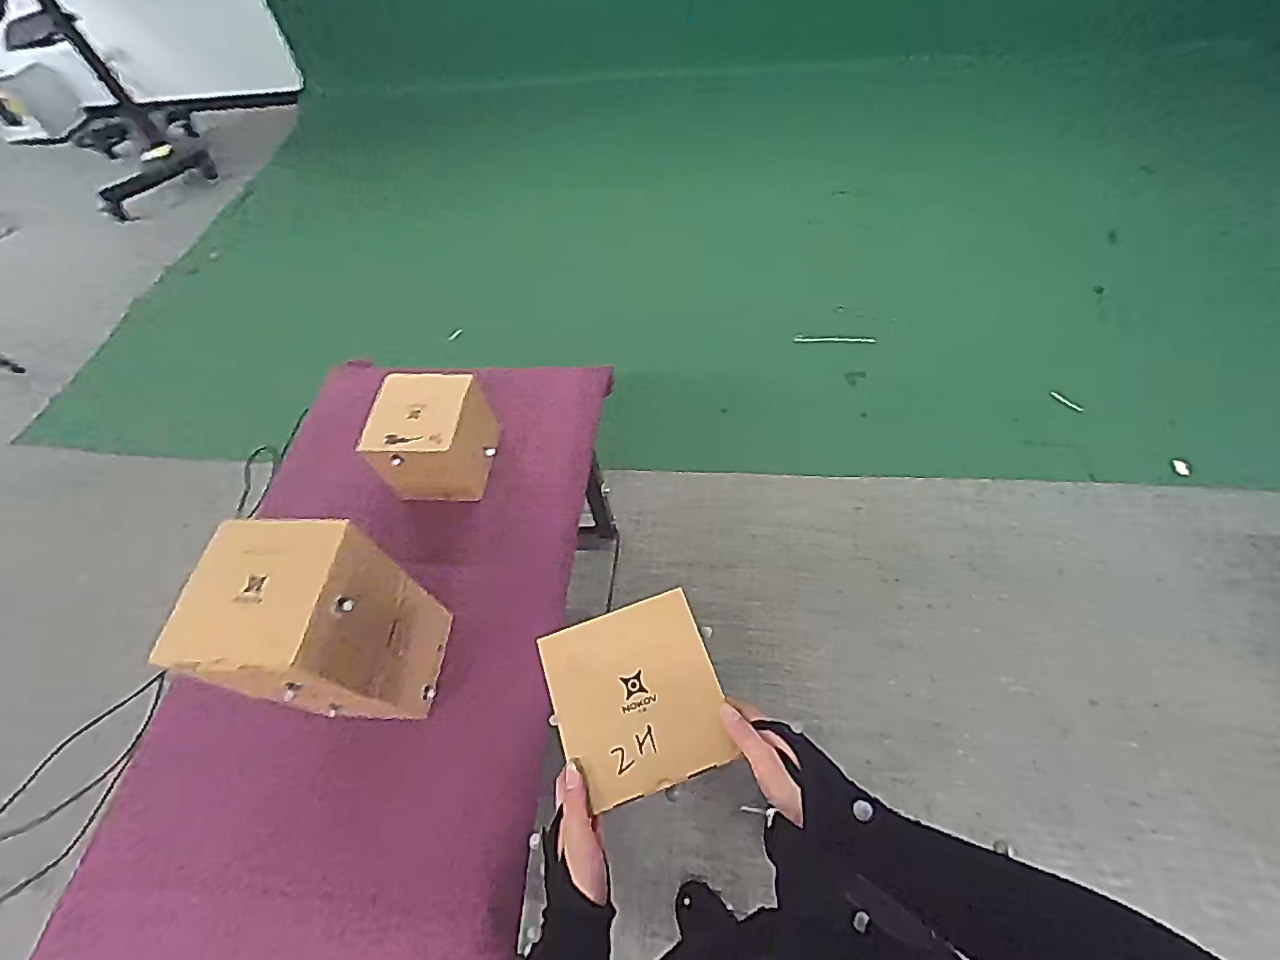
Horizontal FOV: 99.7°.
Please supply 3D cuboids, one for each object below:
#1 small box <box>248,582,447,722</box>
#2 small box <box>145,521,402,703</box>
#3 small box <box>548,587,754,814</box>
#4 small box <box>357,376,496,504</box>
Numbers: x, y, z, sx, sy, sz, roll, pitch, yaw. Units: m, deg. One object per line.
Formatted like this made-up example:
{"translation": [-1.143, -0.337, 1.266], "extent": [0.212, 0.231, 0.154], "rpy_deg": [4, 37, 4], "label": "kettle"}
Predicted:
{"translation": [-0.411, 0.255, 0.799], "extent": [0.179, 0.176, 0.168], "rpy_deg": [0, 57, 6], "label": "small box"}
{"translation": [-0.421, 0.166, 0.662], "extent": [0.168, 0.176, 0.179], "rpy_deg": [1, 56, 5], "label": "small box"}
{"translation": [0.010, 0.246, 0.603], "extent": [0.168, 0.176, 0.179], "rpy_deg": [-18, 63, -4], "label": "small box"}
{"translation": [-0.383, -0.074, 1.008], "extent": [0.168, 0.176, 0.179], "rpy_deg": [1, 57, 7], "label": "small box"}
